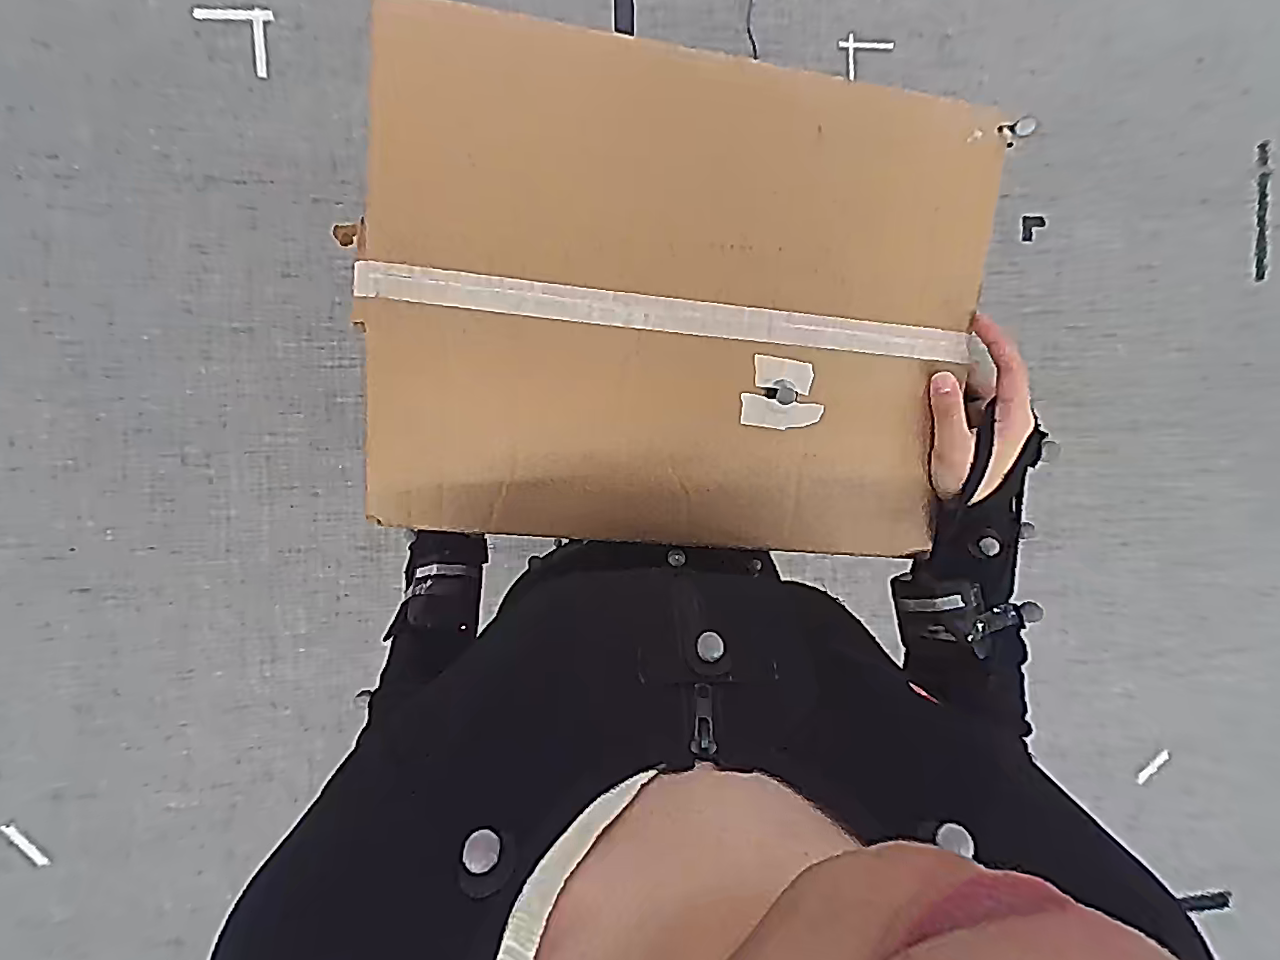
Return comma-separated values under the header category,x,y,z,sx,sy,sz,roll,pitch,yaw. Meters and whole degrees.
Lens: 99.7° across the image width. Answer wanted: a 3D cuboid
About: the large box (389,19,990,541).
category,x,y,z,sx,sy,sz,roll,pitch,yaw
large box,0.015,-0.136,0.513,0.408,0.320,0.320,4,100,-9
